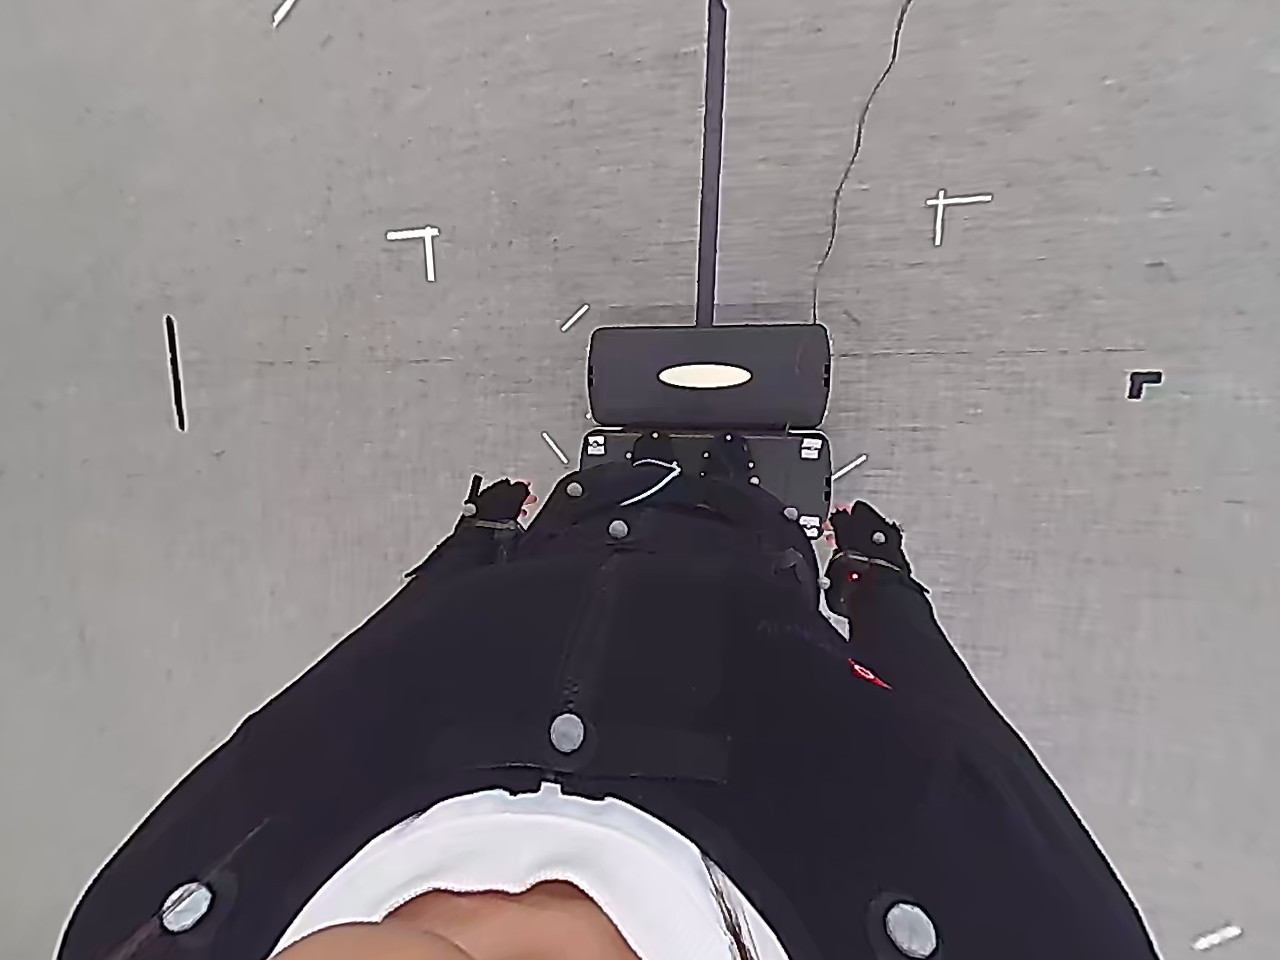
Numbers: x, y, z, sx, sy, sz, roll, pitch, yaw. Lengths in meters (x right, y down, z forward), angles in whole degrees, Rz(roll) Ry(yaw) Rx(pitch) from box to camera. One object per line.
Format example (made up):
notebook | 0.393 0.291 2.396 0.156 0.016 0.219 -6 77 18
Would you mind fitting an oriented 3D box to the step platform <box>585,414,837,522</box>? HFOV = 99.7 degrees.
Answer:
step platform | 0.189 -0.040 1.513 0.684 0.204 0.286 1 97 11
